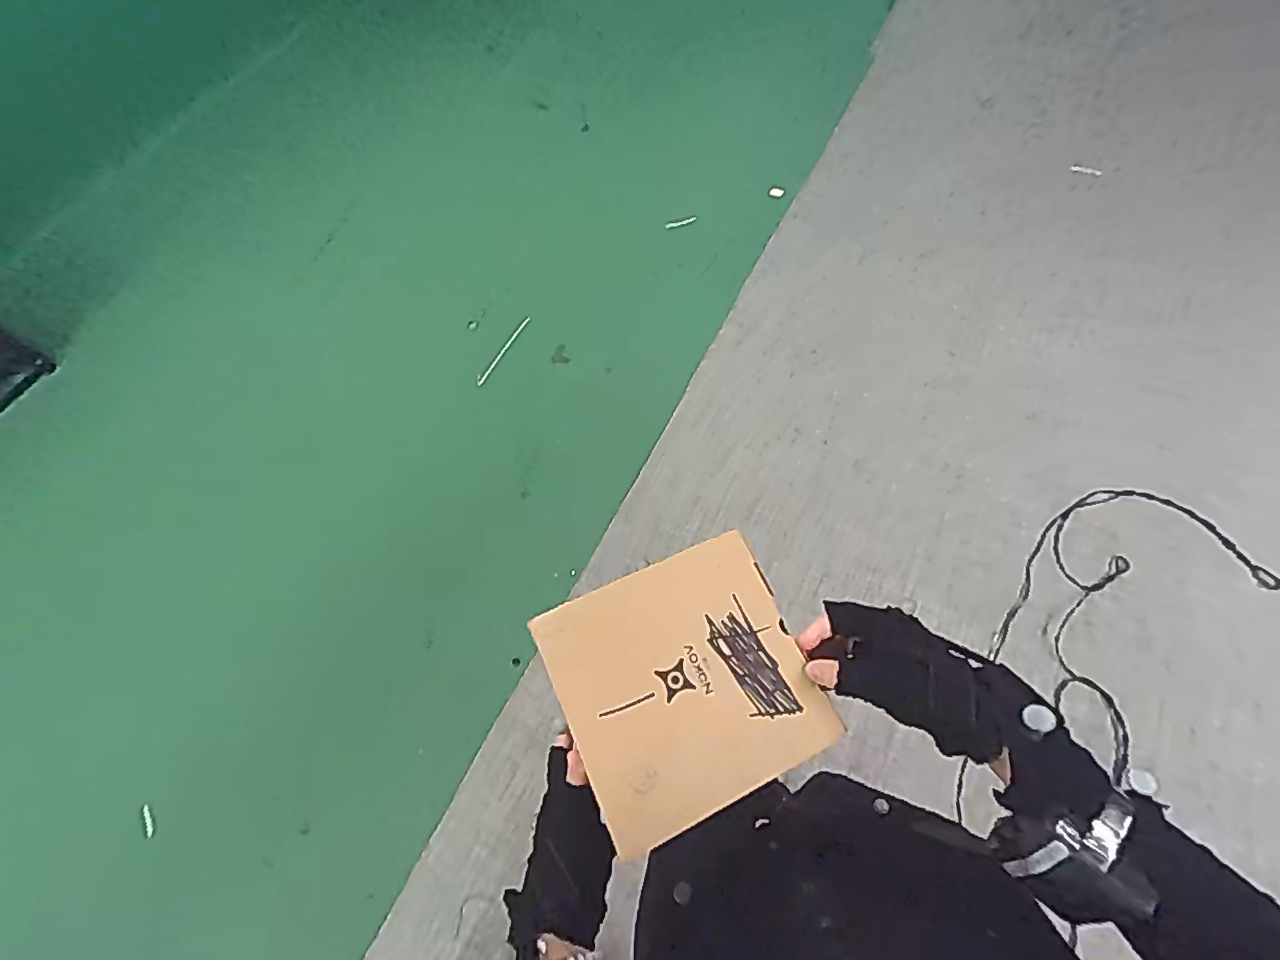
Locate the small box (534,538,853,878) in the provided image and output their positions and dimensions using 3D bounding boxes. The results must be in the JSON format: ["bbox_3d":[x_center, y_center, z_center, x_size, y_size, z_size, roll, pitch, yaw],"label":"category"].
[{"bbox_3d":[0.027,0.170,0.441,0.179,0.176,0.168,-22,72,-13],"label":"small box"}]
